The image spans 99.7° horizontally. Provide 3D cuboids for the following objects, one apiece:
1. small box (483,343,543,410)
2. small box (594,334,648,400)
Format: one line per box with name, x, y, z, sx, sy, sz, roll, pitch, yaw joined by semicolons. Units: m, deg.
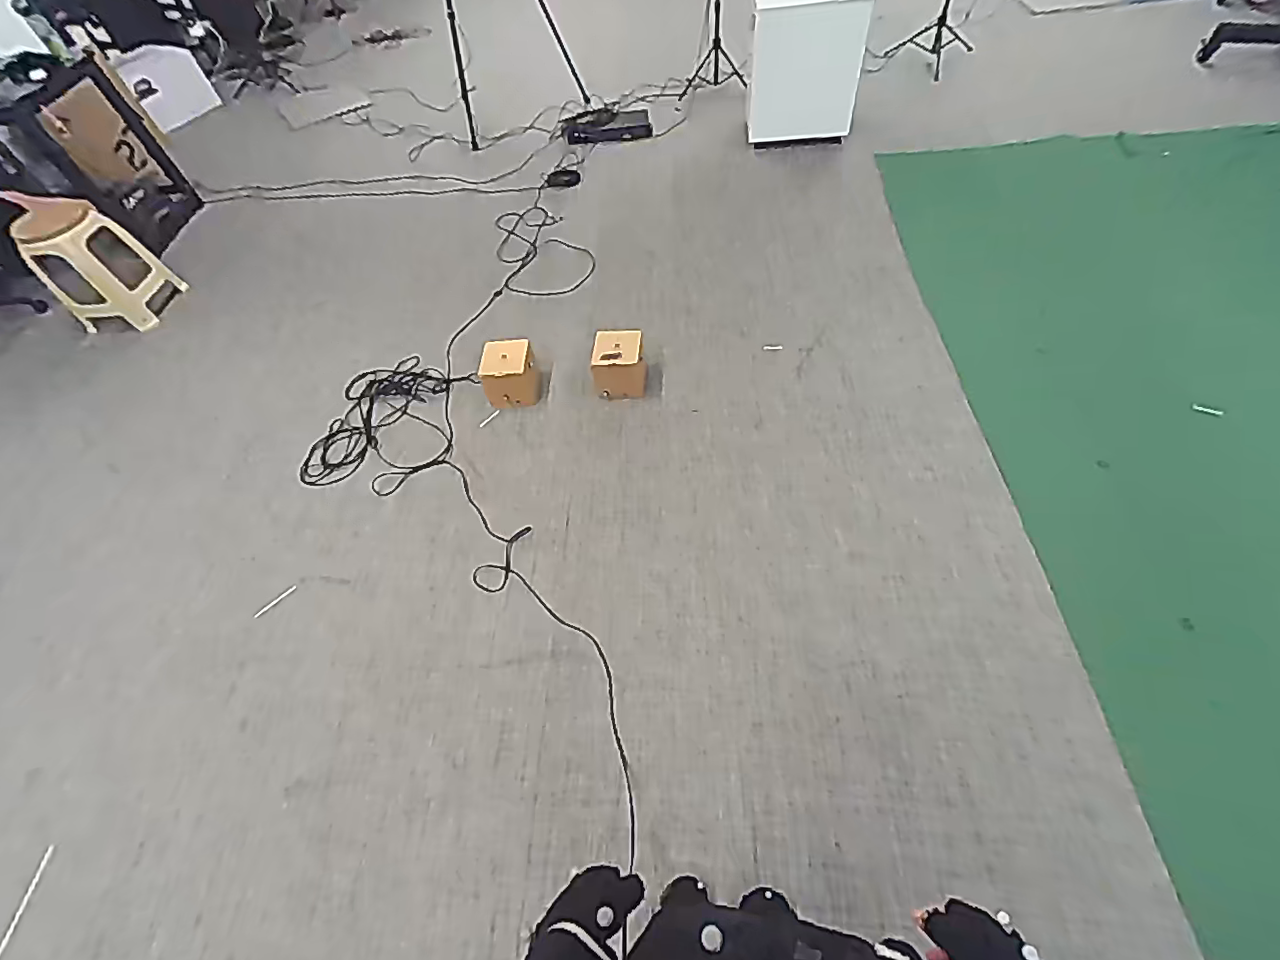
small box;-0.464;-0.382;2.004;0.168;0.176;0.179;-3;56;5
small box;-0.063;-0.407;1.968;0.168;0.176;0.179;1;55;8
